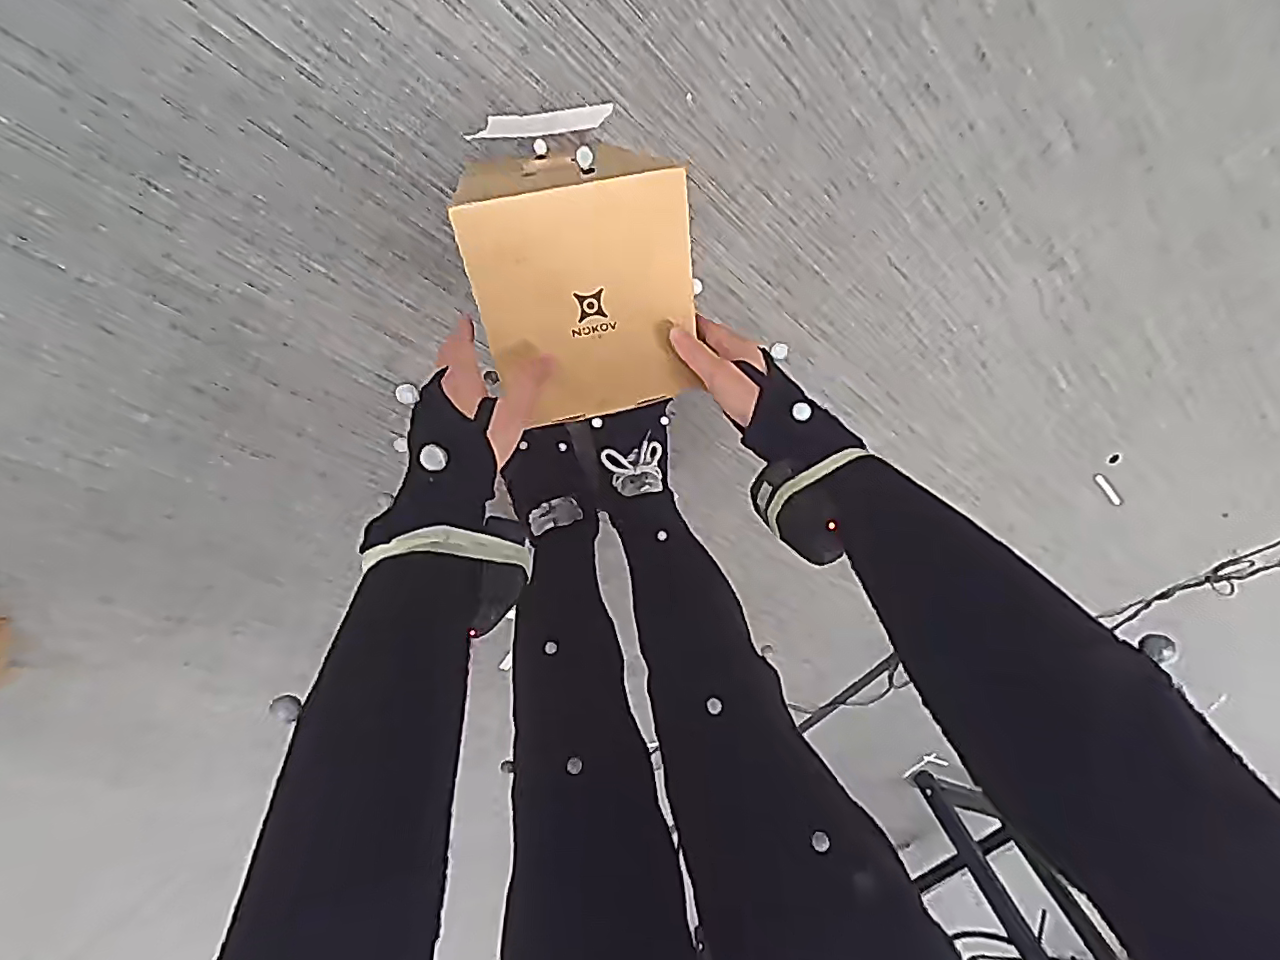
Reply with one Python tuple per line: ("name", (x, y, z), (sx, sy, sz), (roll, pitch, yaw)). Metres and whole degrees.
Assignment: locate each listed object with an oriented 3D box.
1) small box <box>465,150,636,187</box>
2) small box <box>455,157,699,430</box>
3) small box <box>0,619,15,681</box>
("small box", (-0.090, -0.262, 0.610), (0.168, 0.176, 0.179), (-13, 125, -6))
("small box", (-0.055, -0.173, 0.477), (0.168, 0.176, 0.179), (-14, 127, -6))
("small box", (-1.040, 0.282, 0.746), (0.179, 0.176, 0.168), (25, 114, -26))
